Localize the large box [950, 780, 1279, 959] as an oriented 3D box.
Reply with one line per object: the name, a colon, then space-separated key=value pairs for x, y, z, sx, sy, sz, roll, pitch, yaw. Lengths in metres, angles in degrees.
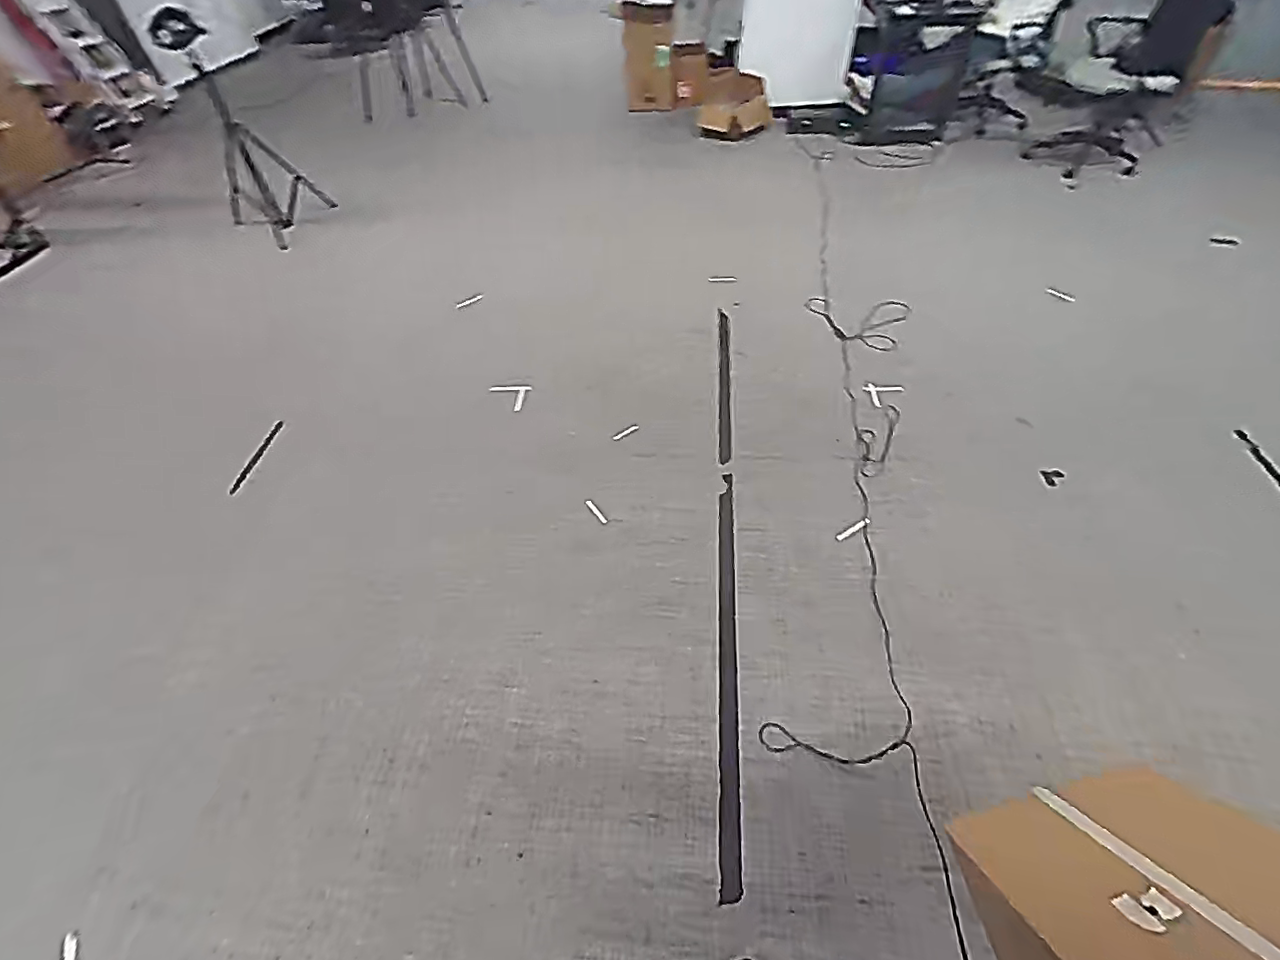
large box: x=0.649 y=0.621 z=0.612 sx=0.320 sy=0.408 sz=0.320 roll=-20 pitch=82 yaw=2
